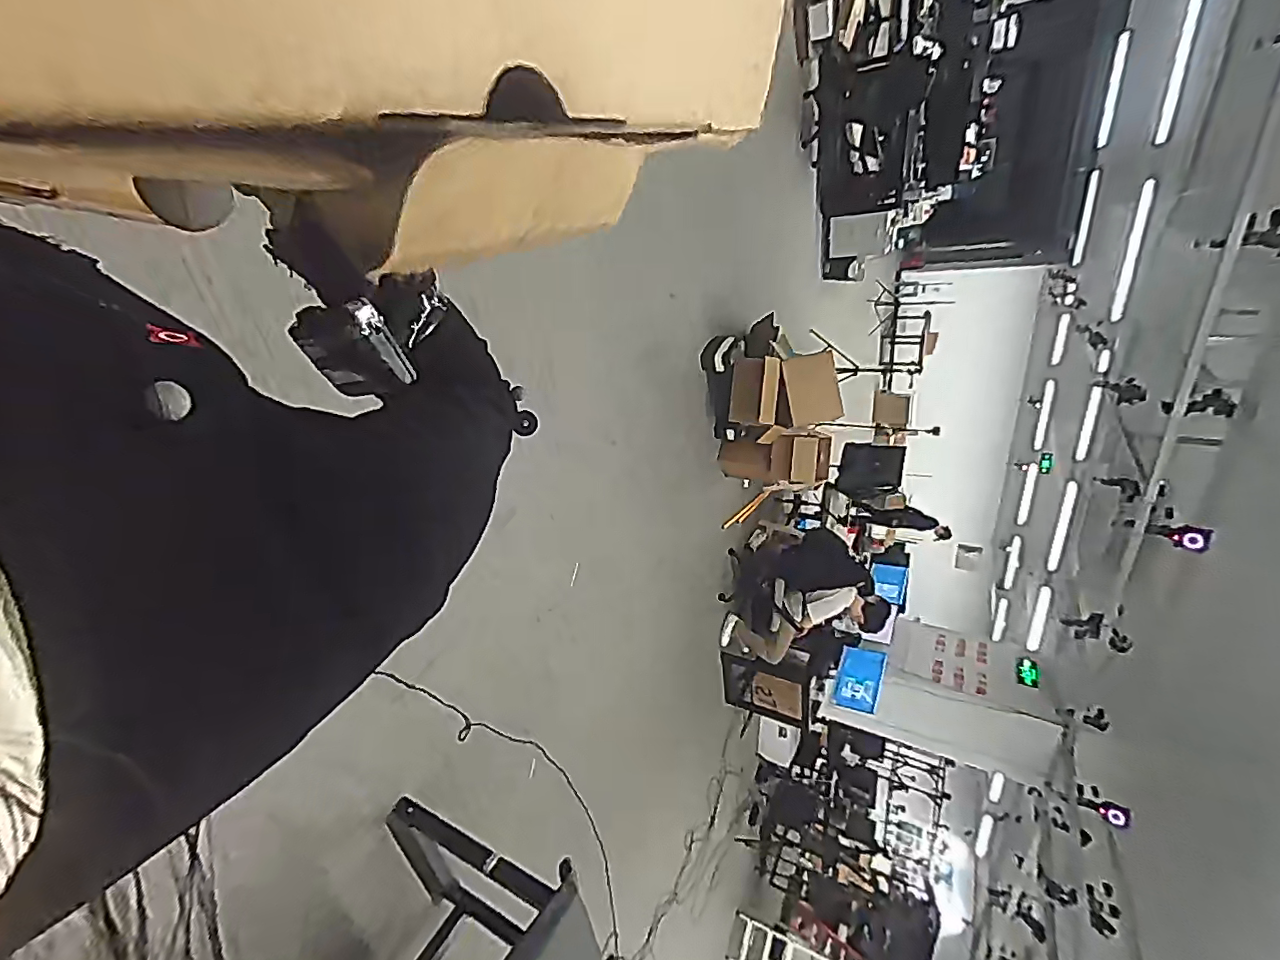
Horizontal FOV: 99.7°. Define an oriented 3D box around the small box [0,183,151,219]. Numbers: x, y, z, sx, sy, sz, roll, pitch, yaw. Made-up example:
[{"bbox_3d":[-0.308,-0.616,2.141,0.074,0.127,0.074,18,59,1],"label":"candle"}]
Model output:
[{"bbox_3d":[-0.241,-0.169,0.105,0.168,0.176,0.179,-21,124,-61],"label":"small box"}]
